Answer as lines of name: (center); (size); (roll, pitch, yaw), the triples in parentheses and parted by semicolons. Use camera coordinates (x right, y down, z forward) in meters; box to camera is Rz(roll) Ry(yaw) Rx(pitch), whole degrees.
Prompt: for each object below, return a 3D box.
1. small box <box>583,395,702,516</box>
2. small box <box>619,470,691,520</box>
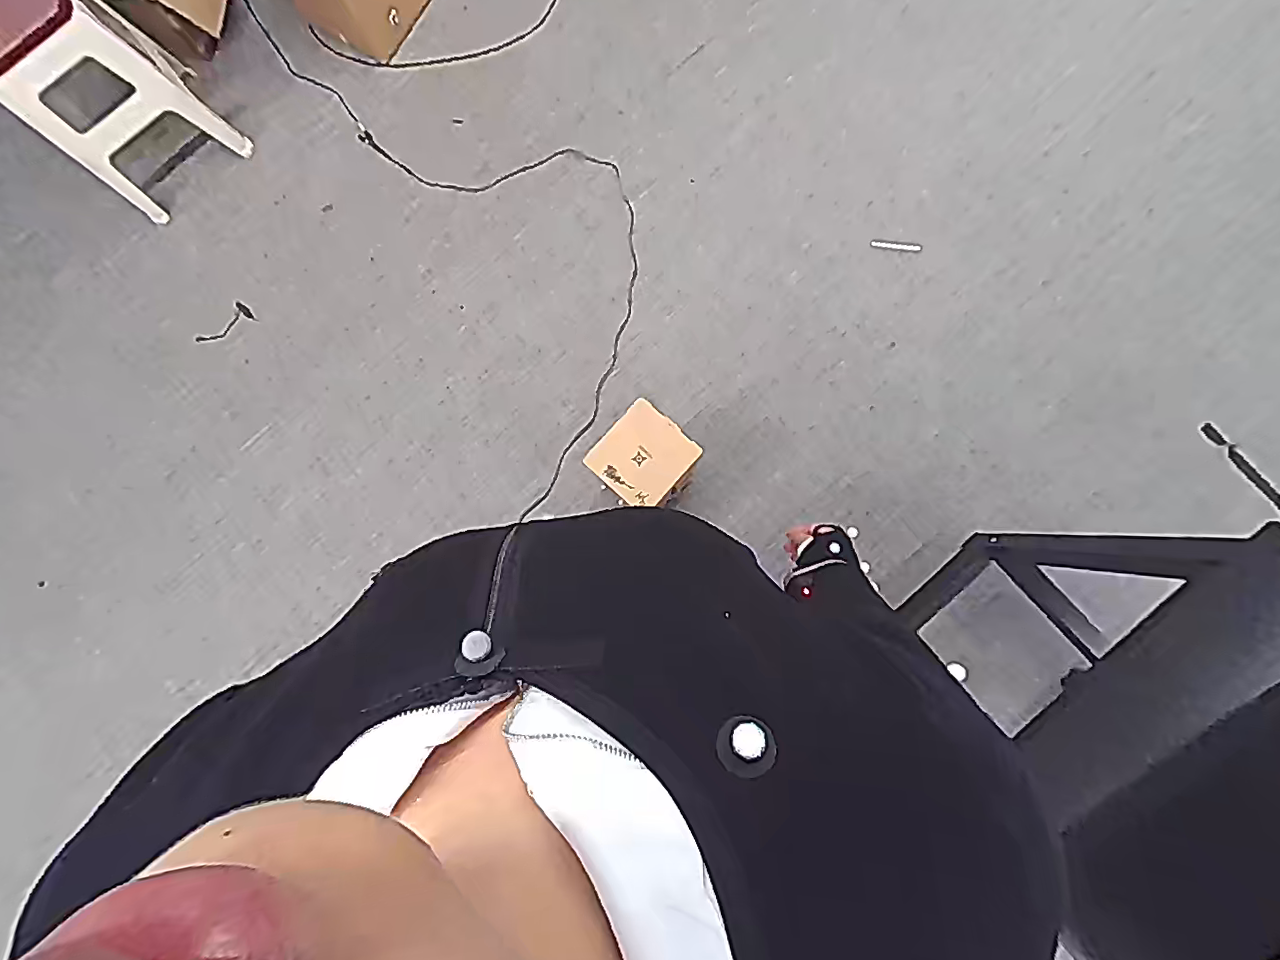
small box: (0.005, -0.042, 1.119); (0.168, 0.176, 0.179); (42, 87, 6)
small box: (0.015, -0.009, 1.445); (0.179, 0.176, 0.168); (-45, 84, -1)
